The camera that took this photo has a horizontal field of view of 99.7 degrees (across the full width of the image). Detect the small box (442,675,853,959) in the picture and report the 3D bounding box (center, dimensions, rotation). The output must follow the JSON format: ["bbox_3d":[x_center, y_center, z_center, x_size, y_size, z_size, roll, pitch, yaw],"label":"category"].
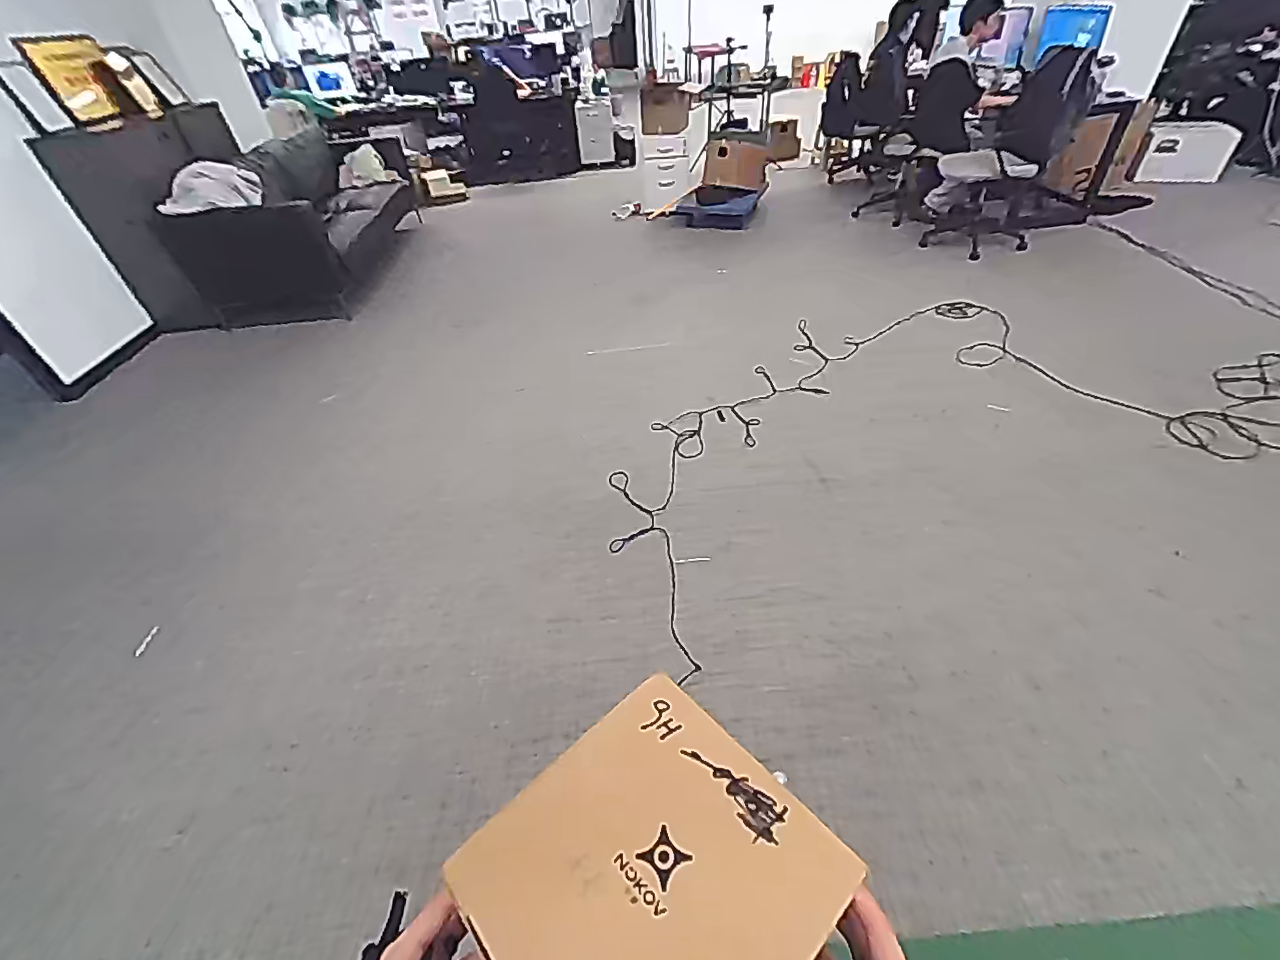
[{"bbox_3d":[0.007,0.277,0.355,0.179,0.176,0.168,-33,50,-29],"label":"small box"}]
